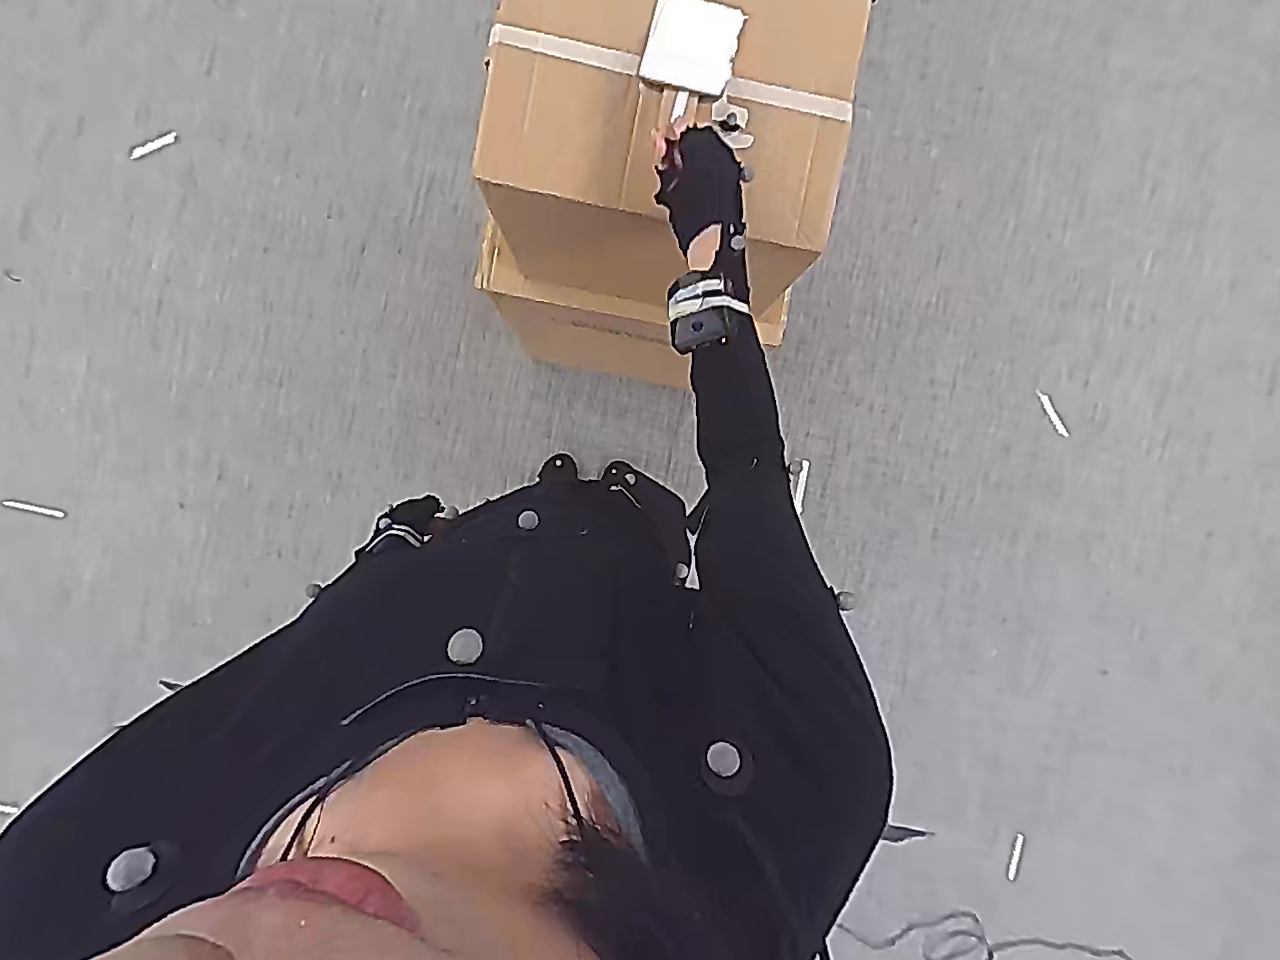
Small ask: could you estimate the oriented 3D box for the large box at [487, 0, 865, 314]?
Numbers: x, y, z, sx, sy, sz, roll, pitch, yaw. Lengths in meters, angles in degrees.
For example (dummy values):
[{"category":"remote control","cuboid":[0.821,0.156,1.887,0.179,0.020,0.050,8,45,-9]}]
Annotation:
[{"category":"large box","cuboid":[0.033,-0.461,0.766,0.408,0.320,0.320,10,91,-4]}]
